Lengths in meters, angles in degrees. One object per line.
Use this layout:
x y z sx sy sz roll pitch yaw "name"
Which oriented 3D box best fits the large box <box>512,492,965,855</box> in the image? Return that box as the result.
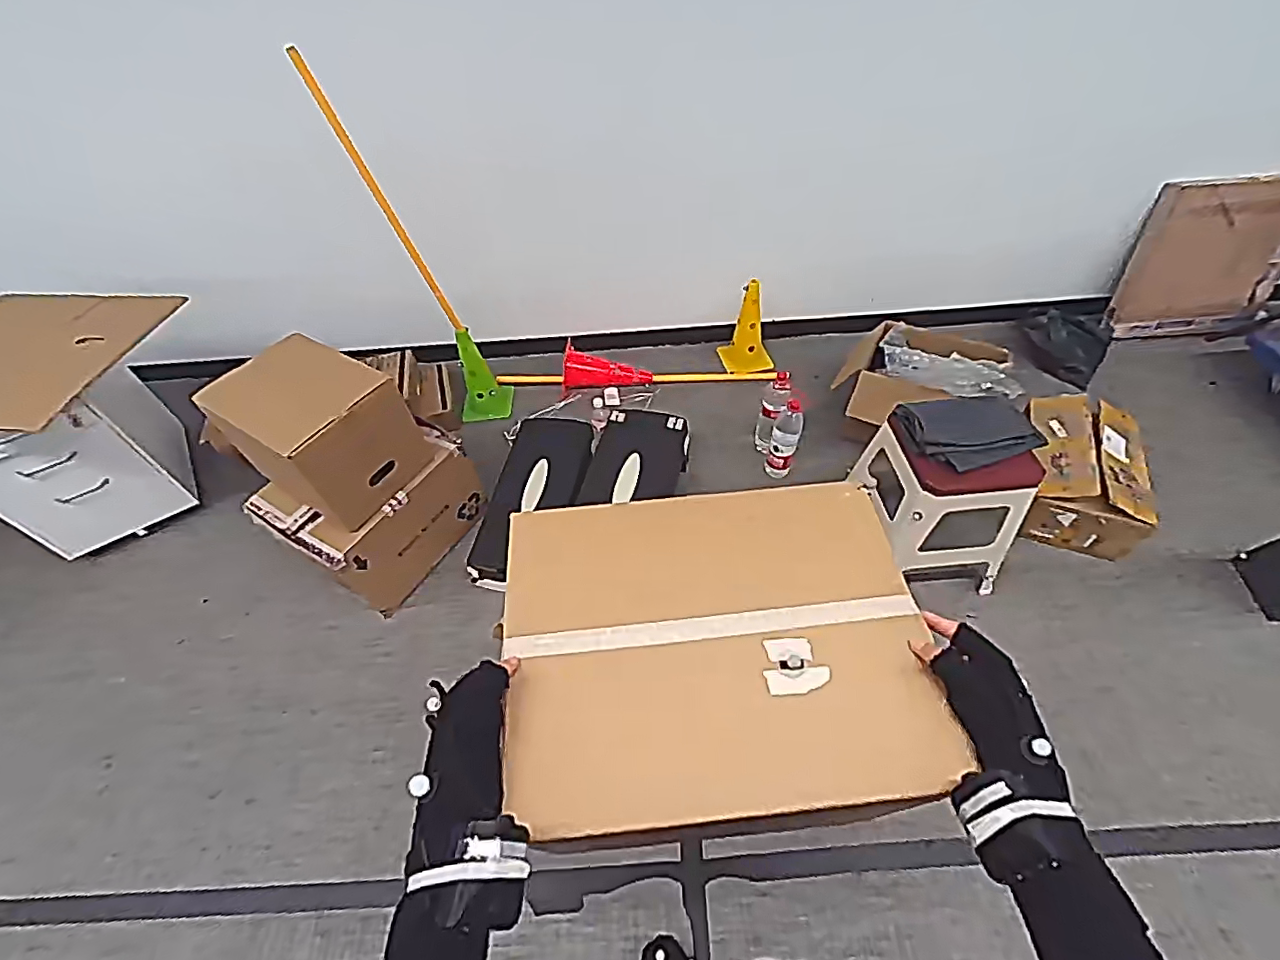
0.074 0.245 0.665 0.408 0.320 0.320 -5 55 -3 "large box"
